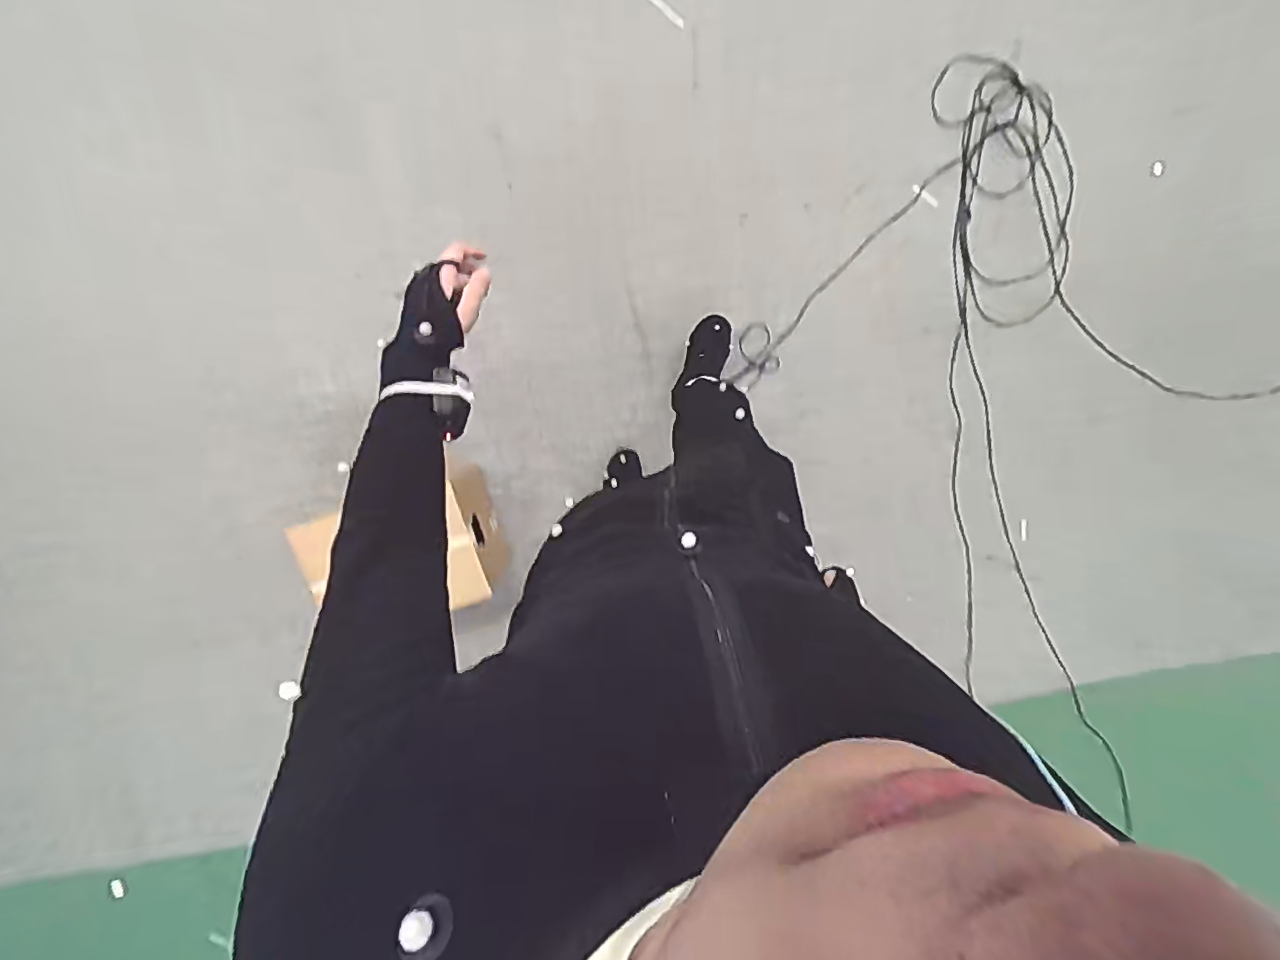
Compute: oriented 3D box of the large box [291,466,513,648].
[{"bbox_3d":[-0.601,0.183,1.449,0.408,0.320,0.320,-18,99,-1],"label":"large box"}]
